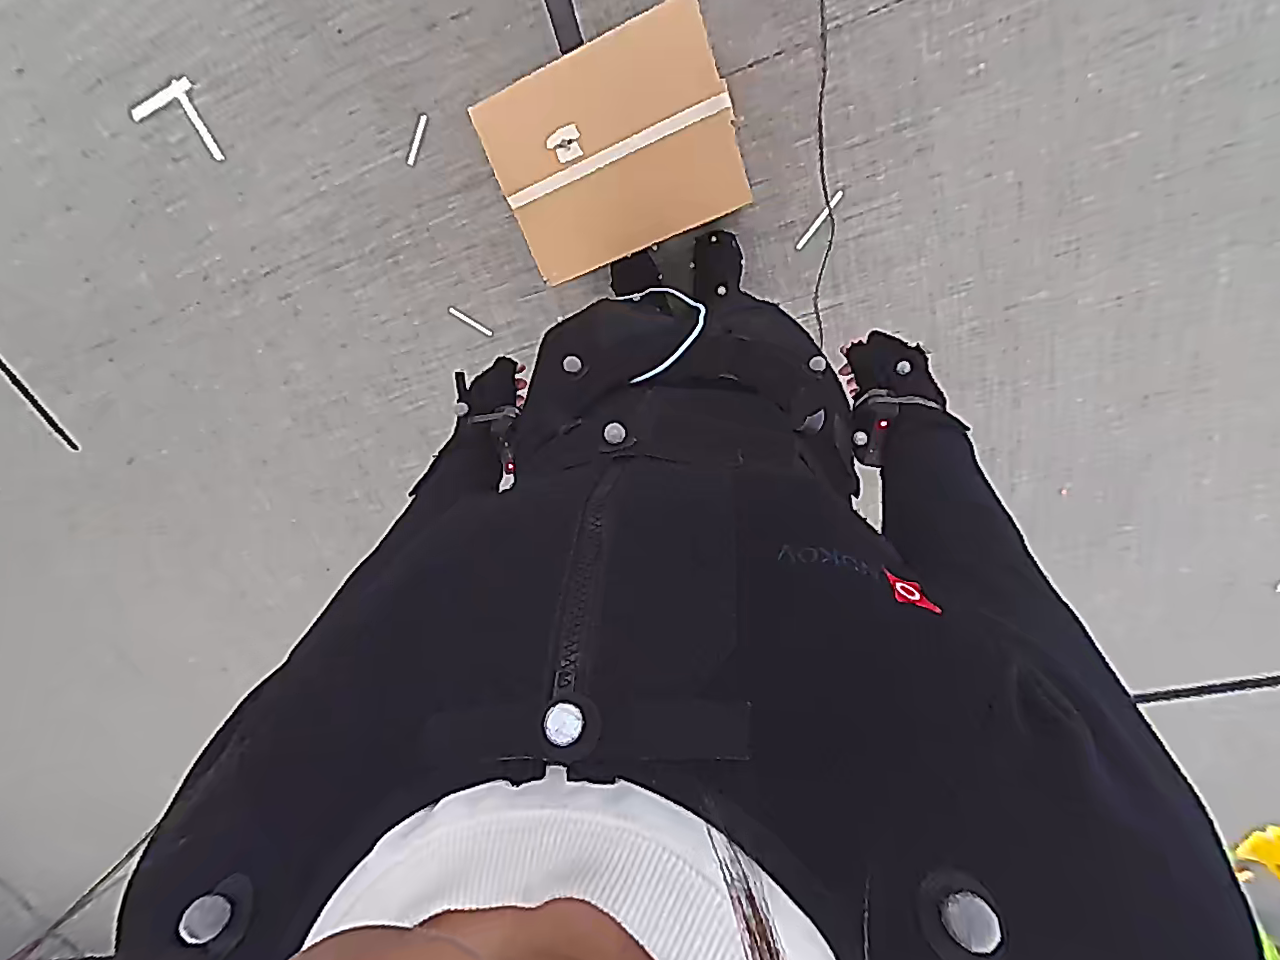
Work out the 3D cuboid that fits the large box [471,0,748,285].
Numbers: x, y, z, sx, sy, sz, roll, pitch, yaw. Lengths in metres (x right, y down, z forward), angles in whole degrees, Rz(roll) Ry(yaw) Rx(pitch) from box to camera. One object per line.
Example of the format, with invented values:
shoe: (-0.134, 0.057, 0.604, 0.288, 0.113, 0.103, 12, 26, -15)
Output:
large box: (-0.033, -0.625, 1.048, 0.408, 0.320, 0.320, -17, 114, 16)
